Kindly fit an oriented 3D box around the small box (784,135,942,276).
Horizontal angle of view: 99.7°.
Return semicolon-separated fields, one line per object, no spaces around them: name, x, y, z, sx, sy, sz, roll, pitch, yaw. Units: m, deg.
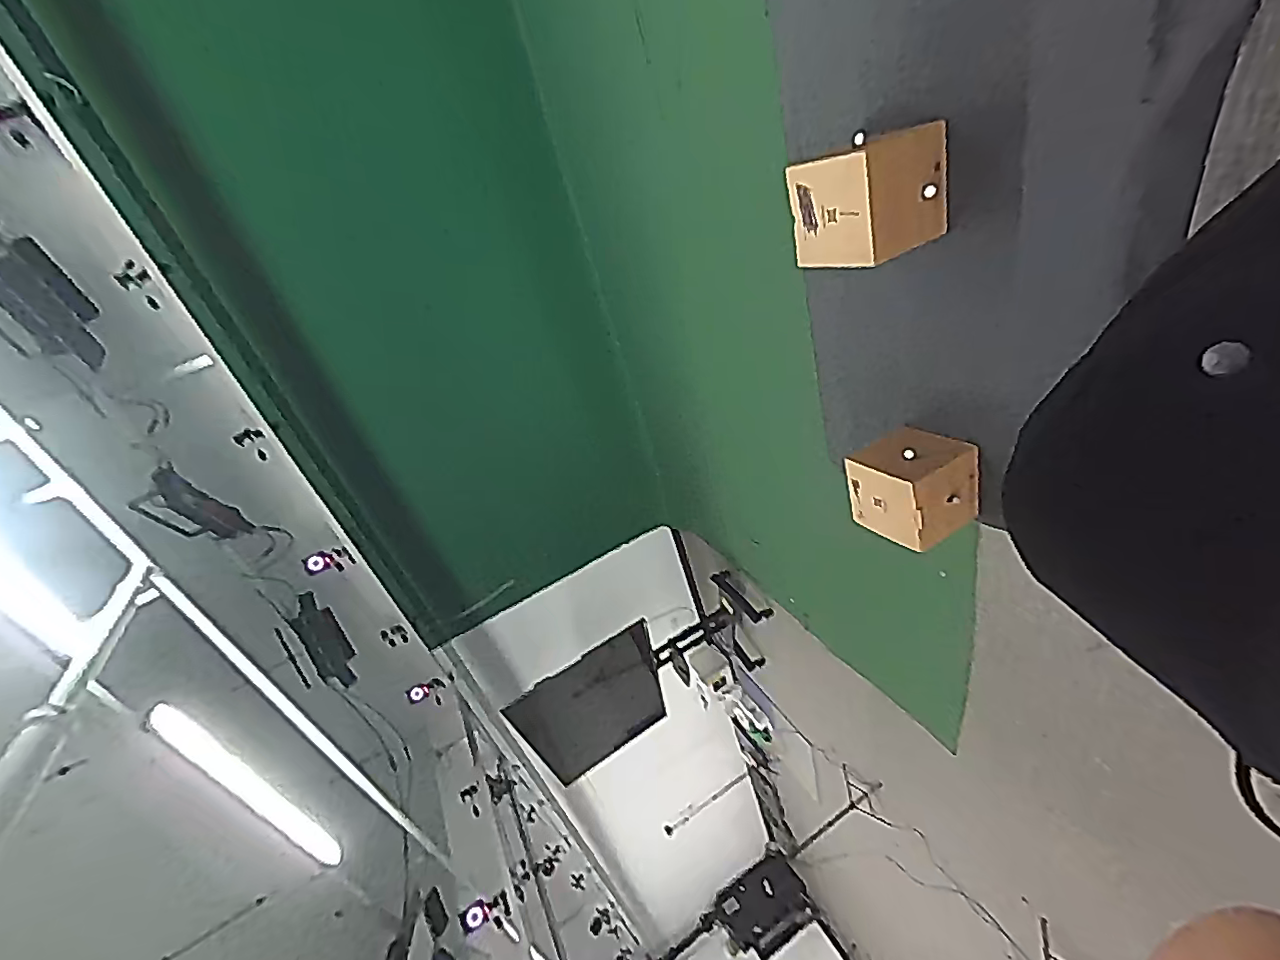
small box;0.373;-0.455;0.910;0.179;0.176;0.168;34;148;55

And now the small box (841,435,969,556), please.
small box;0.553;0.022;1.122;0.179;0.176;0.168;33;146;58
